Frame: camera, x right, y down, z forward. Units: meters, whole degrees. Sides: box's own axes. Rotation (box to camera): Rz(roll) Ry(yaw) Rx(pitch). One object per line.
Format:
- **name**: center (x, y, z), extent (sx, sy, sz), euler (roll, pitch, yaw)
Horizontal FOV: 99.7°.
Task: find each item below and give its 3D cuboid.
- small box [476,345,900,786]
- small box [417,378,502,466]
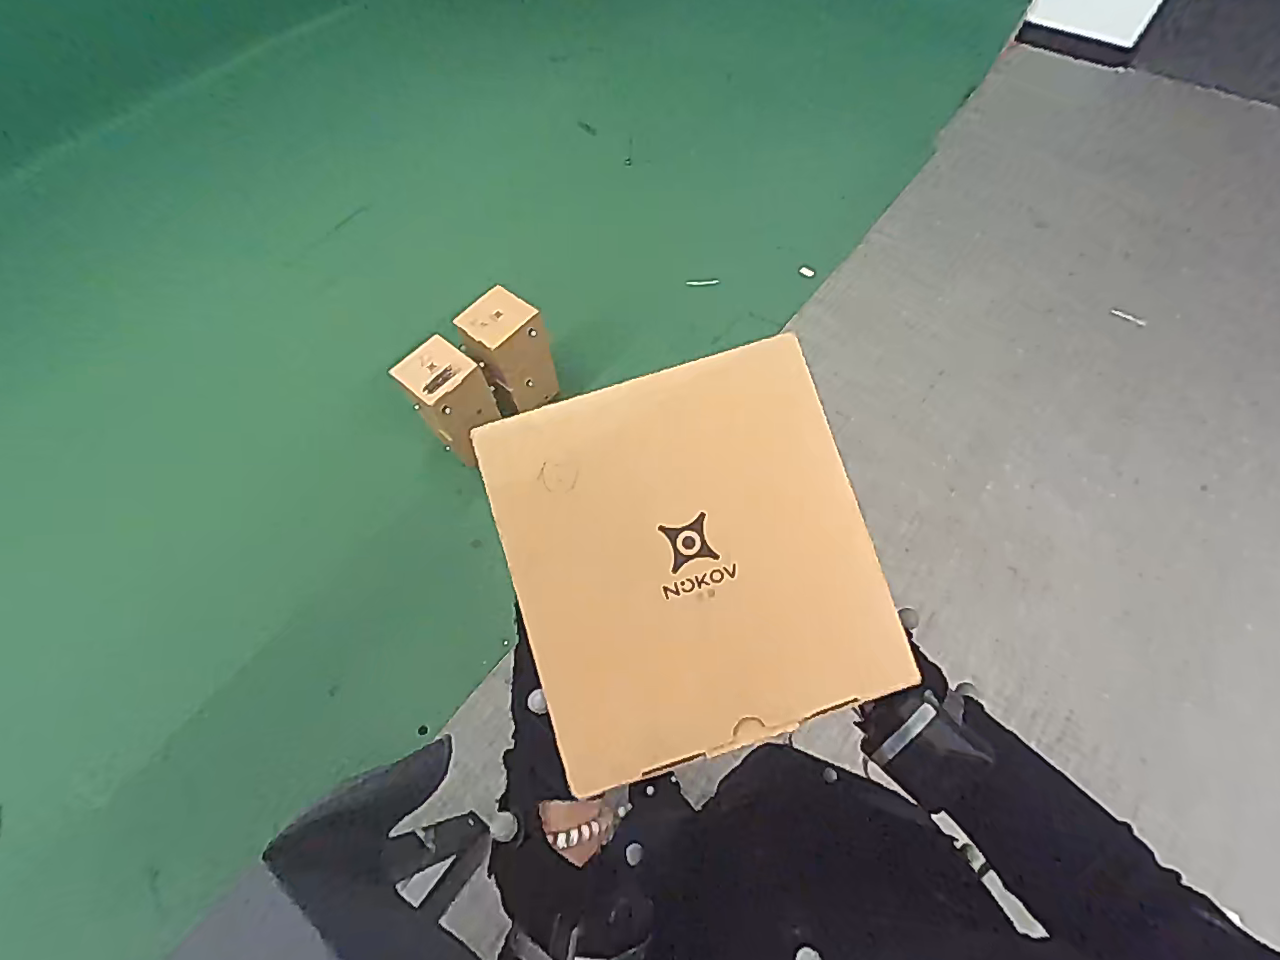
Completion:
- **small box**: center (0.018, 0.046, 0.339), extent (0.168, 0.176, 0.179), euler (-18, 83, -3)
- **small box**: center (-0.524, -0.164, 1.625), extent (0.179, 0.176, 0.168), euler (39, 71, 20)
